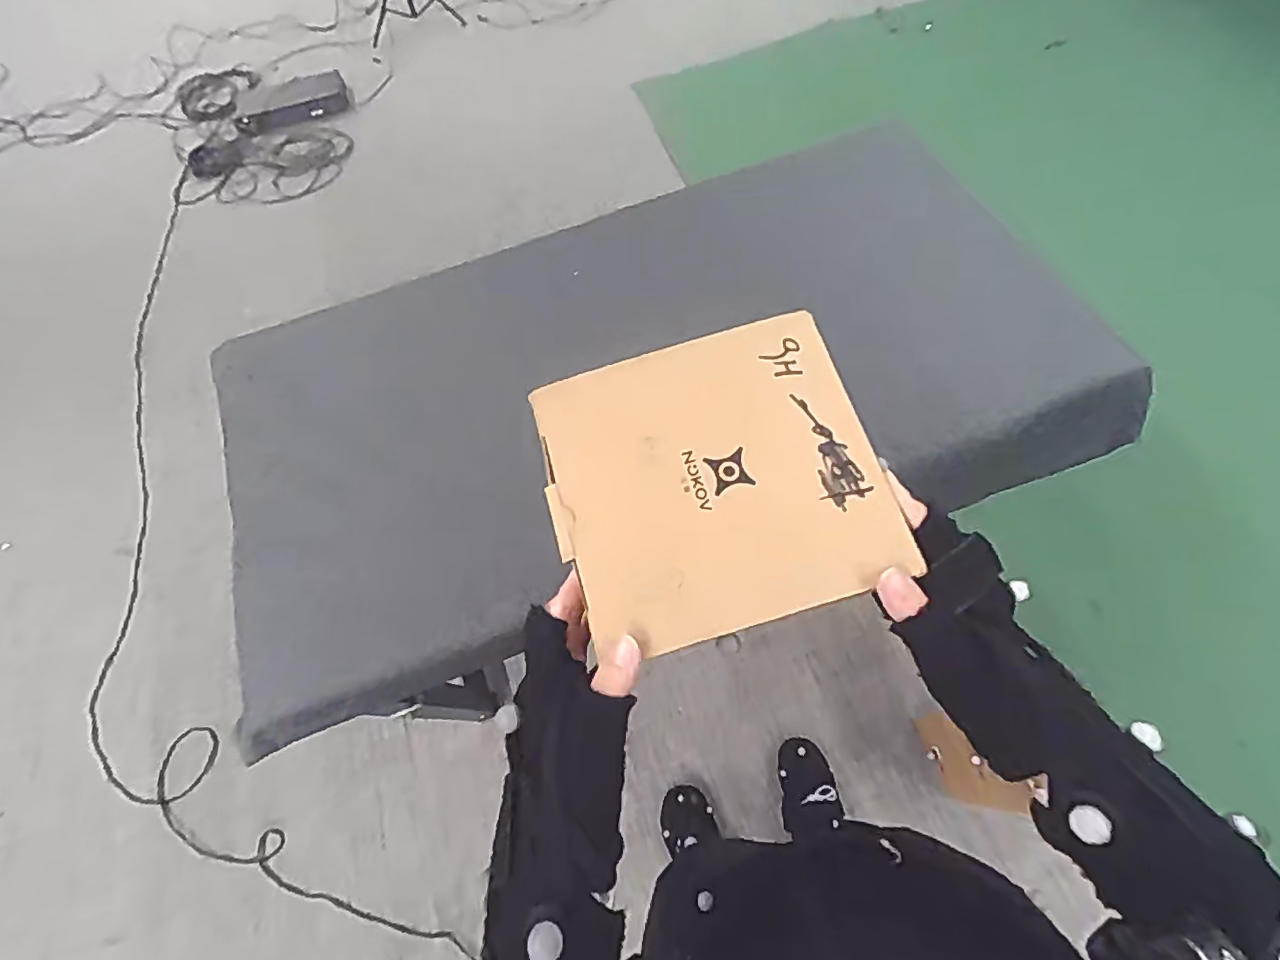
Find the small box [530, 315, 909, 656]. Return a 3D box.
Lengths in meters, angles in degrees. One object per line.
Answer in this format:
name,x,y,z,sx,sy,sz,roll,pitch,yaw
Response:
small box,0.041,0.021,0.373,0.179,0.176,0.168,-14,72,-1

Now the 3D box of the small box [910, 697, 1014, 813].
small box,0.700,0.561,1.116,0.179,0.176,0.168,-18,64,-4
